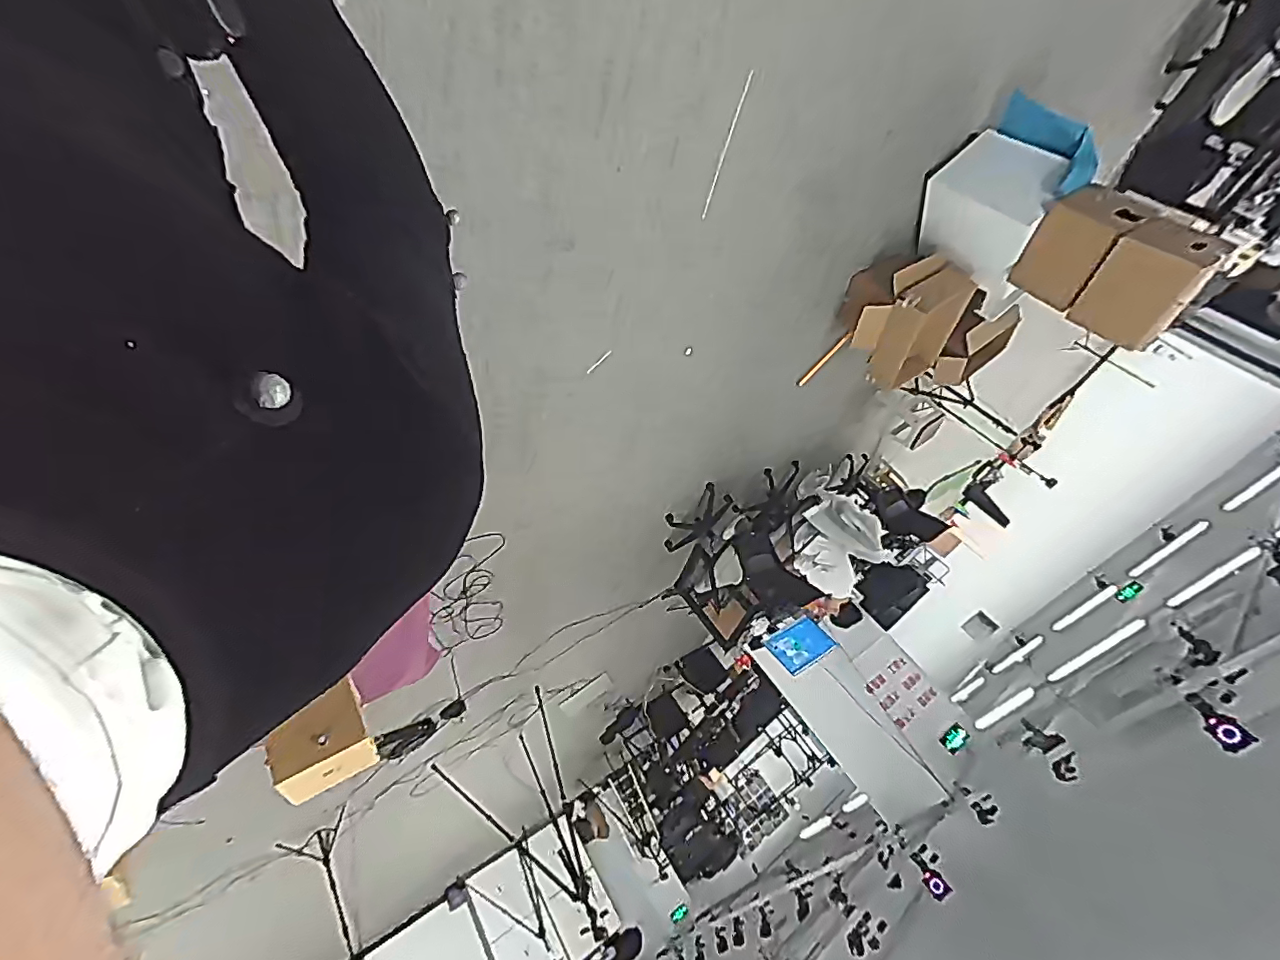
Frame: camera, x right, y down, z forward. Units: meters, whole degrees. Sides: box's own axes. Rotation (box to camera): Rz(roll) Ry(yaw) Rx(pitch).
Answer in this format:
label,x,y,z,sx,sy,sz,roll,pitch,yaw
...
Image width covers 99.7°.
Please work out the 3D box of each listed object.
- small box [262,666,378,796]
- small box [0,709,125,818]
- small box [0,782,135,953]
label,x,y,z,sx,sy,sz,roll,pitch,yaw
small box,-0.701,0.545,1.184,0.179,0.176,0.168,-21,147,-30
small box,-1.147,0.582,1.057,0.179,0.176,0.168,-10,139,-41
small box,-1.054,0.688,0.977,0.179,0.176,0.168,-11,139,-40
